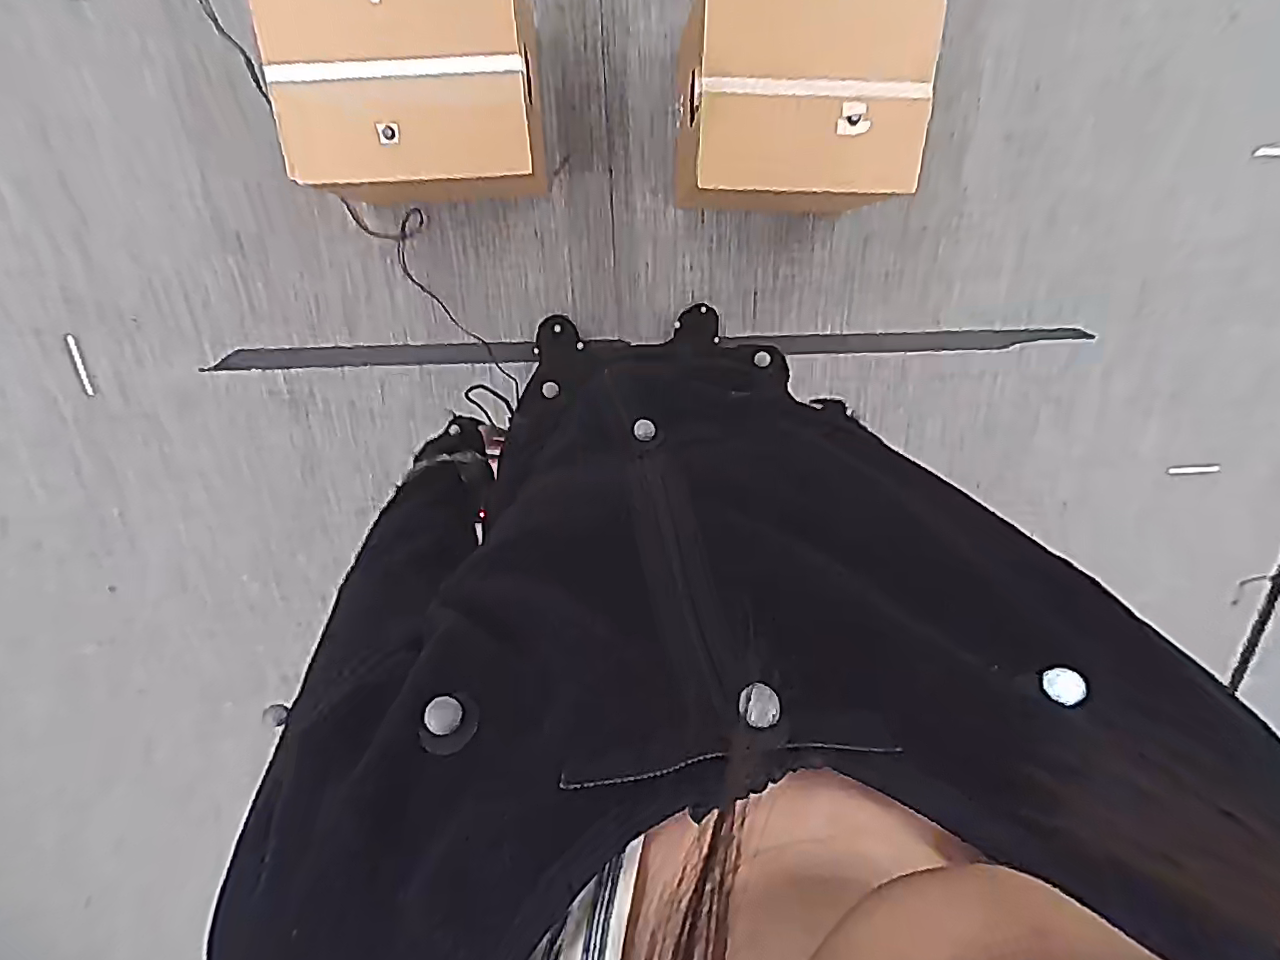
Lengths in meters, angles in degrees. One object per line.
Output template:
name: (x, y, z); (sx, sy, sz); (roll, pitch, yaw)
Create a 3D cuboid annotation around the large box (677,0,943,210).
large box: (0.292, -0.721, 1.064); (0.408, 0.320, 0.320); (-1, 111, -5)
